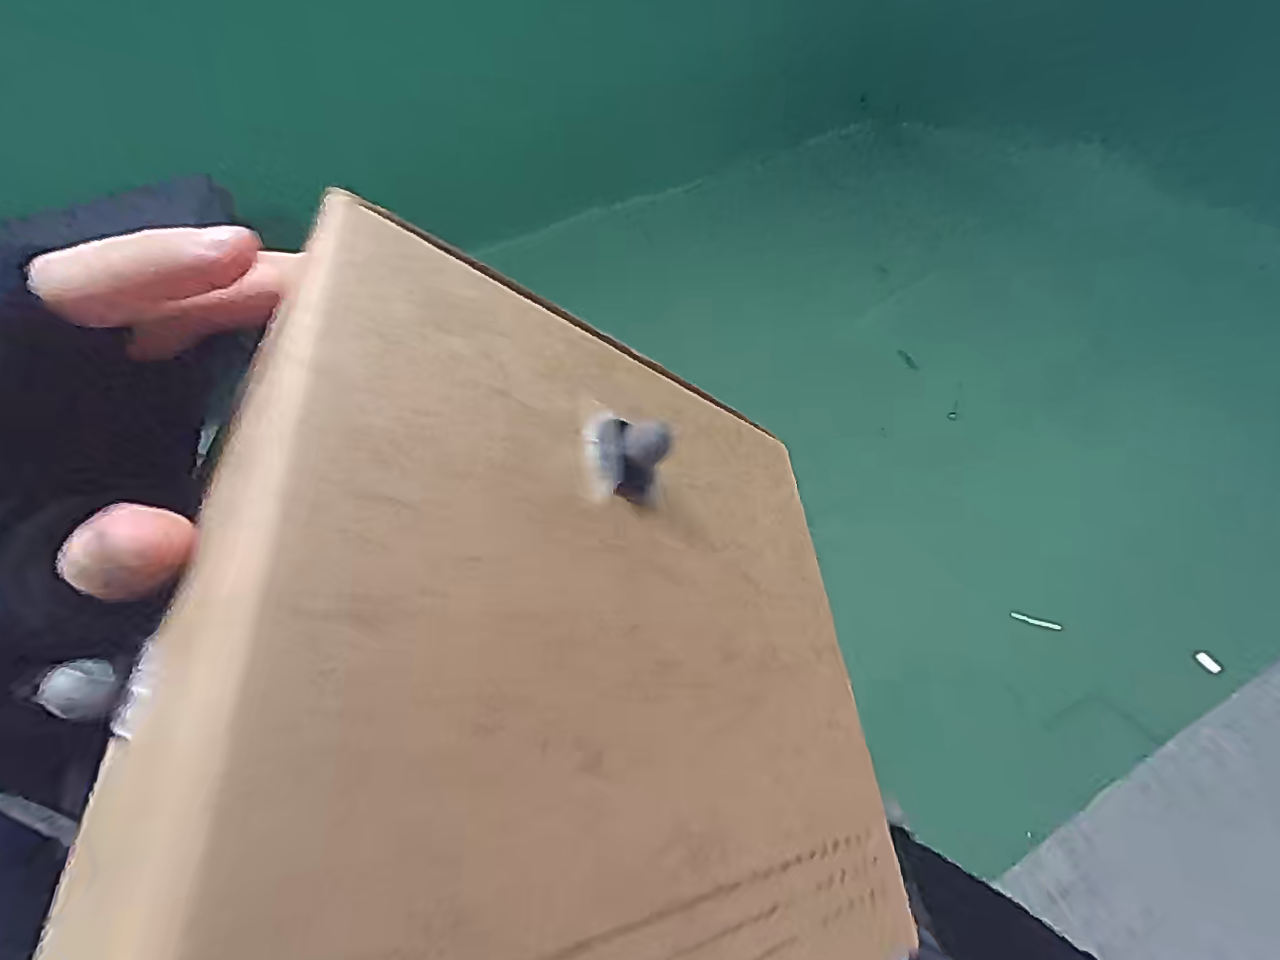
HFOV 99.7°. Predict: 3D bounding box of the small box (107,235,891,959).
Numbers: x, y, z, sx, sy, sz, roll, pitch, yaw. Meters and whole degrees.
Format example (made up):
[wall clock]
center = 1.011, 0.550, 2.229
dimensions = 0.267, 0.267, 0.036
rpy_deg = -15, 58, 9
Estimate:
[small box]
center = -0.042, 0.069, 0.185
dimensions = 0.168, 0.179, 0.176
rpy_deg = -28, 57, 36
